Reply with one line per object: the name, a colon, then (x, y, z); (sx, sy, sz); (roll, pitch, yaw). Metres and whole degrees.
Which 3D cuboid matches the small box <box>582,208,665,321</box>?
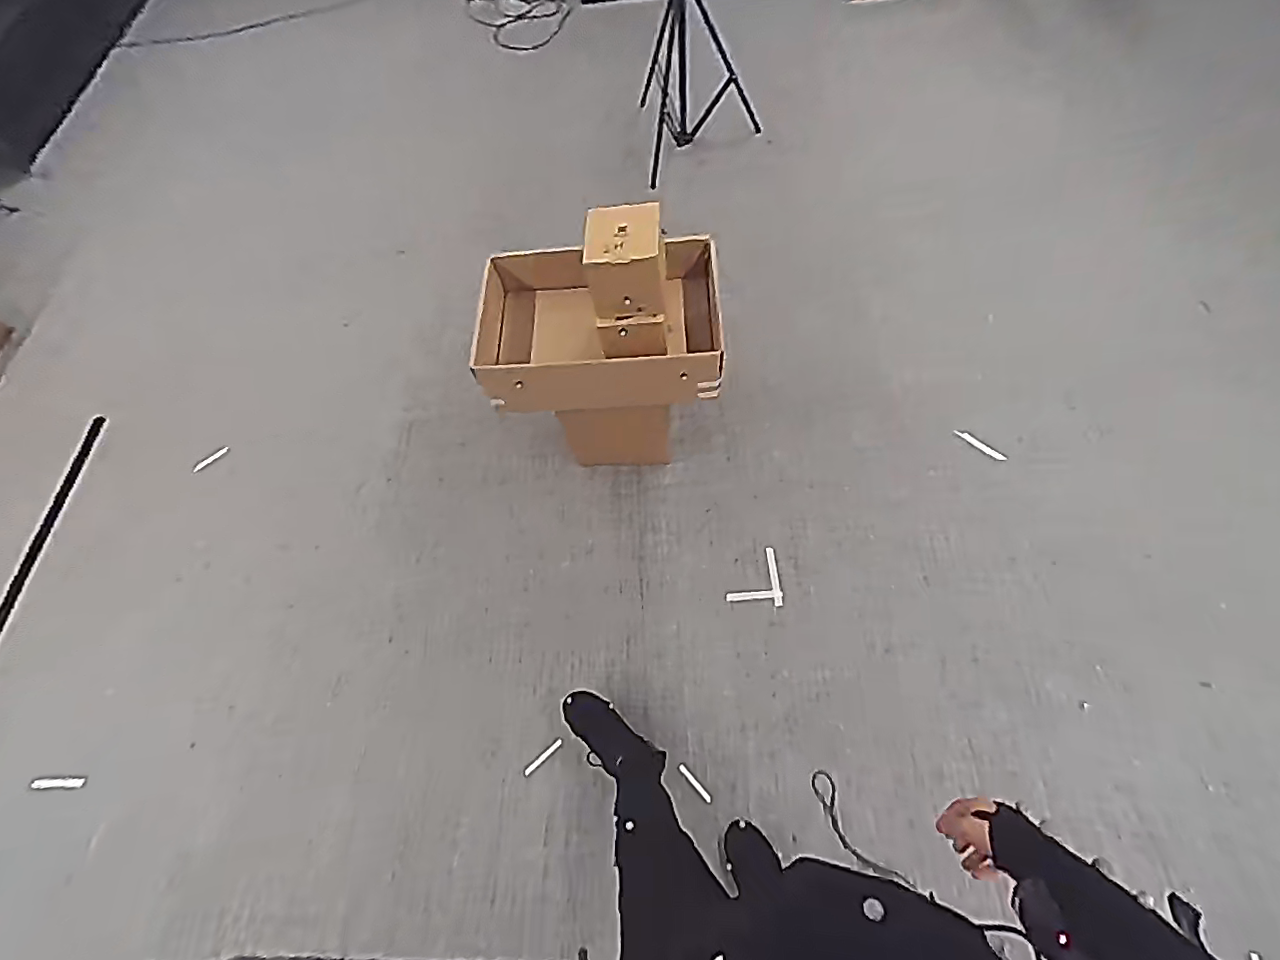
small box: (-0.031, -0.494, 1.251); (0.168, 0.176, 0.179); (-2, 64, 7)
